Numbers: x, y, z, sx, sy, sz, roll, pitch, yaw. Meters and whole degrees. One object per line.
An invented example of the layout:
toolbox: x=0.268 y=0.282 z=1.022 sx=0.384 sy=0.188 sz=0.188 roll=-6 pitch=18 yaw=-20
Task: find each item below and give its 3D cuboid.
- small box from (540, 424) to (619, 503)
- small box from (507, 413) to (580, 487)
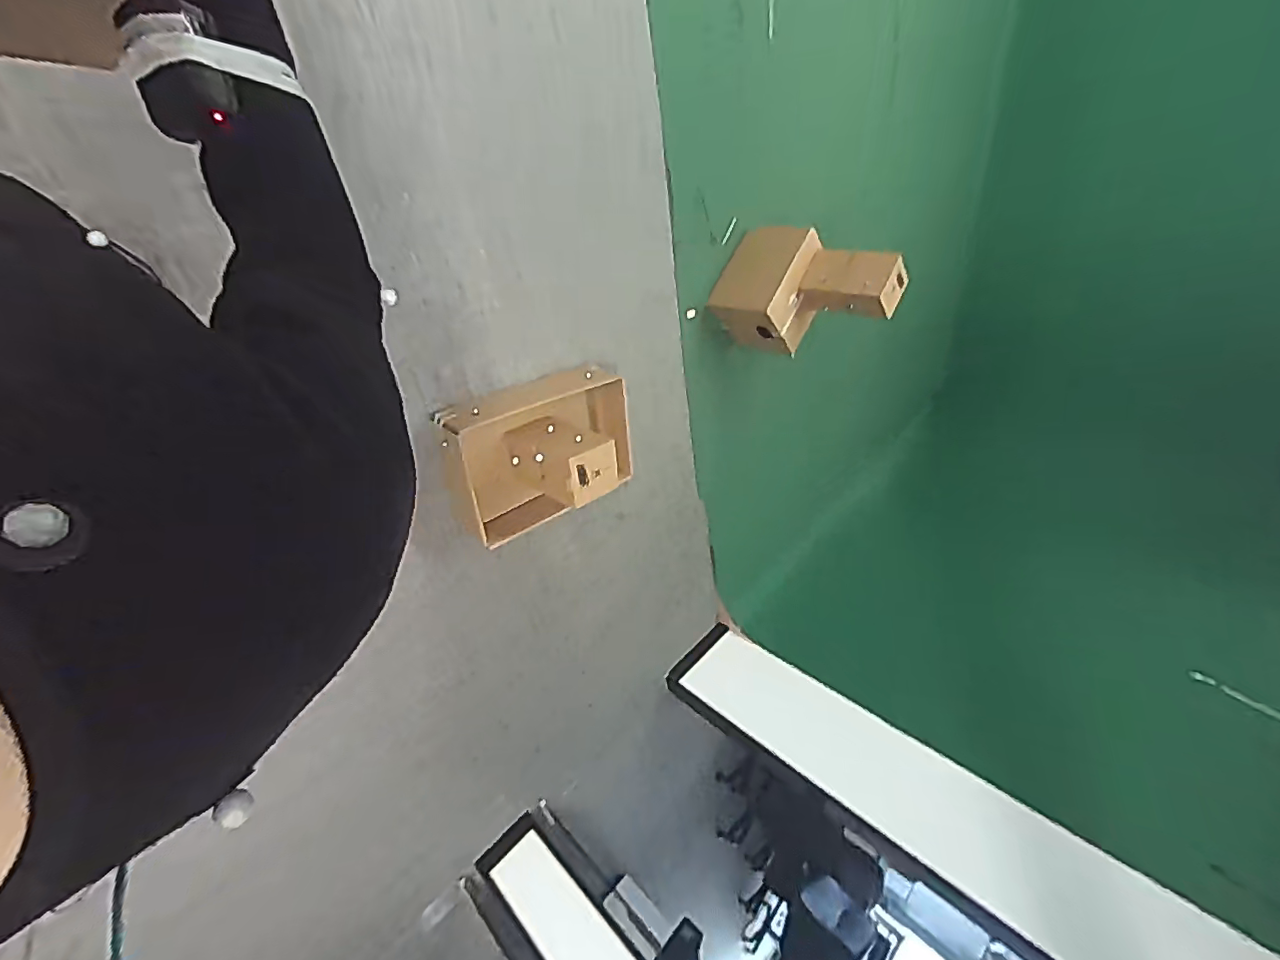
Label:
small box: x=-0.189 y=-0.057 z=1.643 sx=0.179 sy=0.176 sz=0.168 roll=-28 pitch=127 yaw=-37
small box: x=-0.304 y=-0.105 z=1.750 sx=0.179 sy=0.176 sz=0.168 roll=-28 pitch=126 yaw=-36
